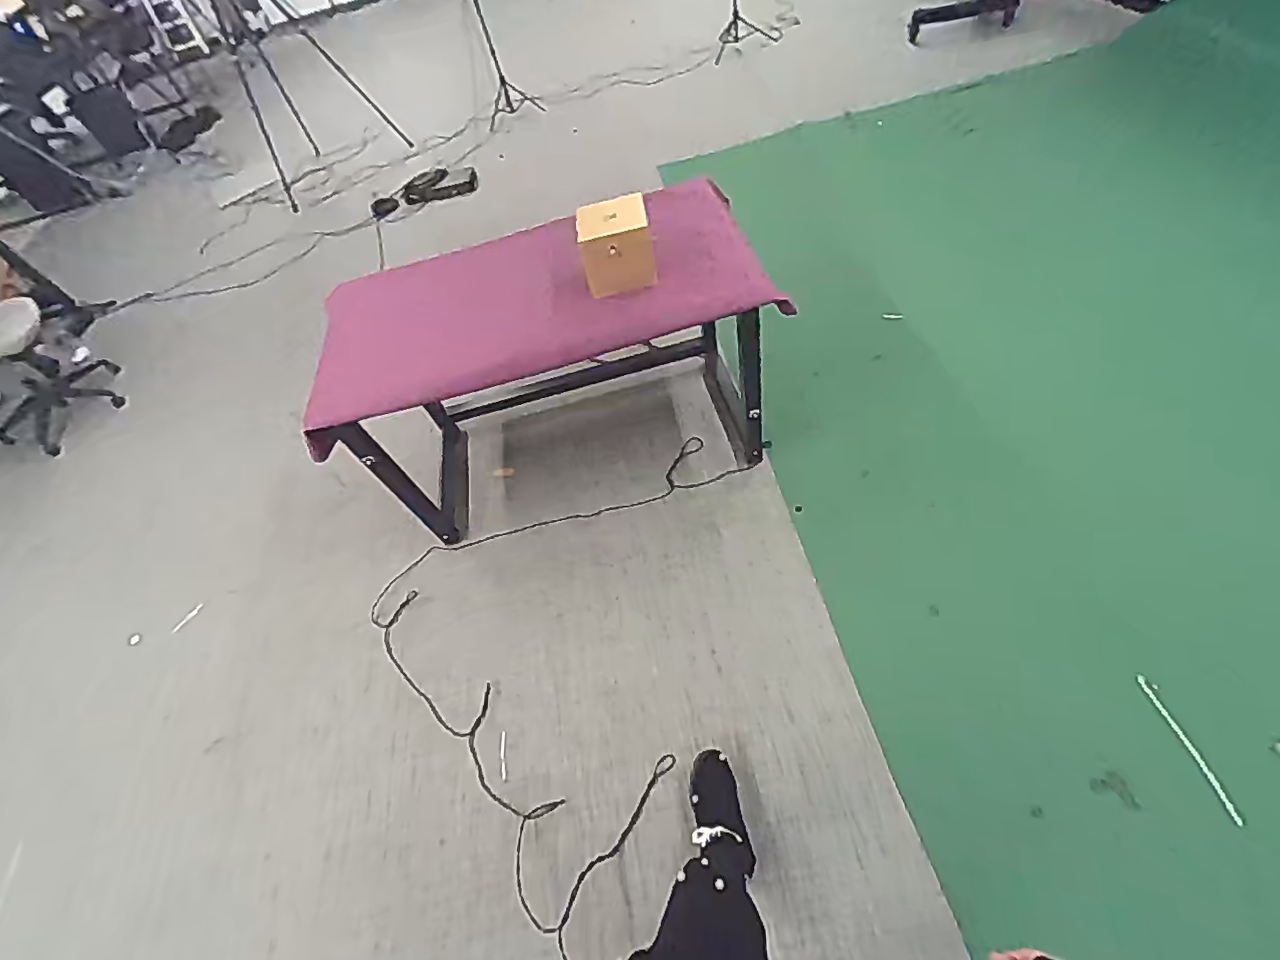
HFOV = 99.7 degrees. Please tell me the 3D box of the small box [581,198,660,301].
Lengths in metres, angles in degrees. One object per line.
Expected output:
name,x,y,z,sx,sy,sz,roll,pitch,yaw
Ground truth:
small box,-0.046,-0.597,1.412,0.179,0.176,0.168,-11,54,6
